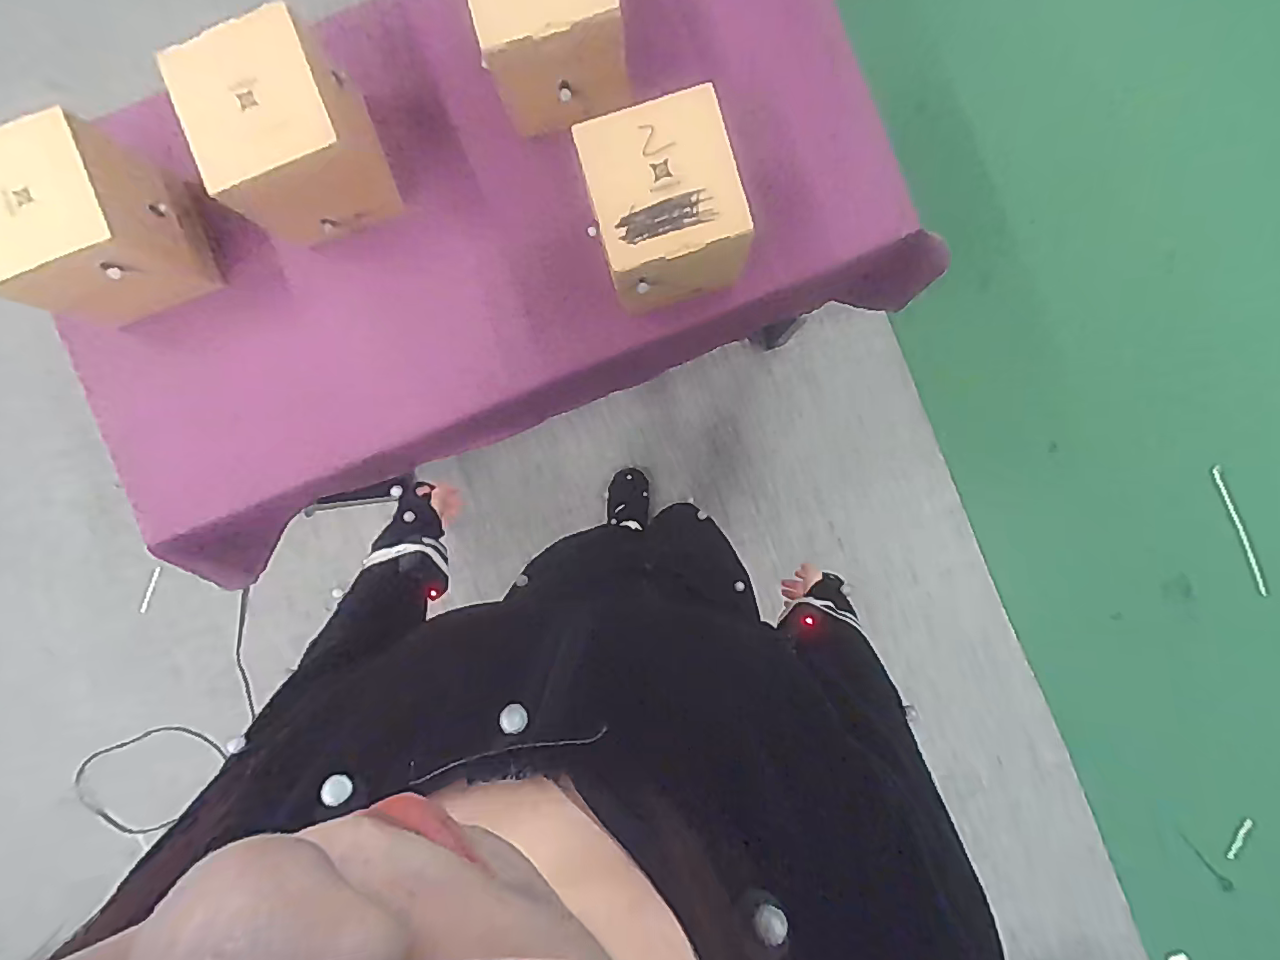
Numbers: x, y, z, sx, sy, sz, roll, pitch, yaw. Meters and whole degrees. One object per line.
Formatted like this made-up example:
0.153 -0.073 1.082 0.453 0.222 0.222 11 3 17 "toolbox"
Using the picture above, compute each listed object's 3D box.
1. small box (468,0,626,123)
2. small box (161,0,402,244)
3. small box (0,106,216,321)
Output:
-0.118 -0.589 0.681 0.168 0.176 0.179 -15 92 2 "small box"
-0.444 -0.443 0.699 0.168 0.176 0.179 -20 91 3 "small box"
-0.709 -0.332 0.709 0.179 0.176 0.168 -20 90 2 "small box"
